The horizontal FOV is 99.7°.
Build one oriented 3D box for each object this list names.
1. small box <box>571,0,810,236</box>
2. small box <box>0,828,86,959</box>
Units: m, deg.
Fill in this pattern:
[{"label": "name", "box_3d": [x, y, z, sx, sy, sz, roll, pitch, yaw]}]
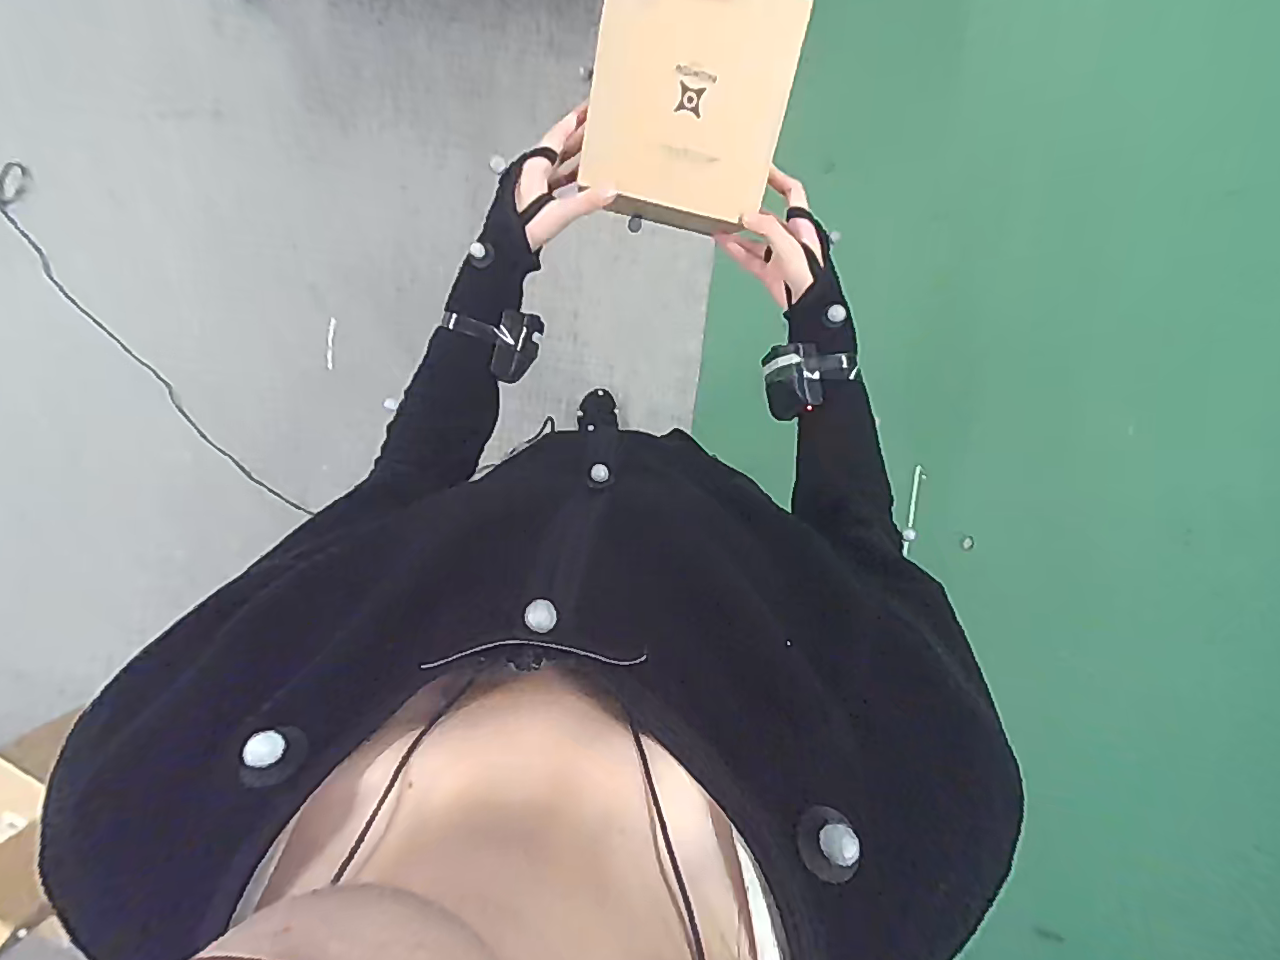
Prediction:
[{"label": "small box", "box_3d": [0.031, -0.348, 0.516, 0.168, 0.176, 0.179, 11, 110, -9]}, {"label": "small box", "box_3d": [-1.340, 0.889, 1.127, 0.168, 0.176, 0.179, 41, 93, -4]}]
